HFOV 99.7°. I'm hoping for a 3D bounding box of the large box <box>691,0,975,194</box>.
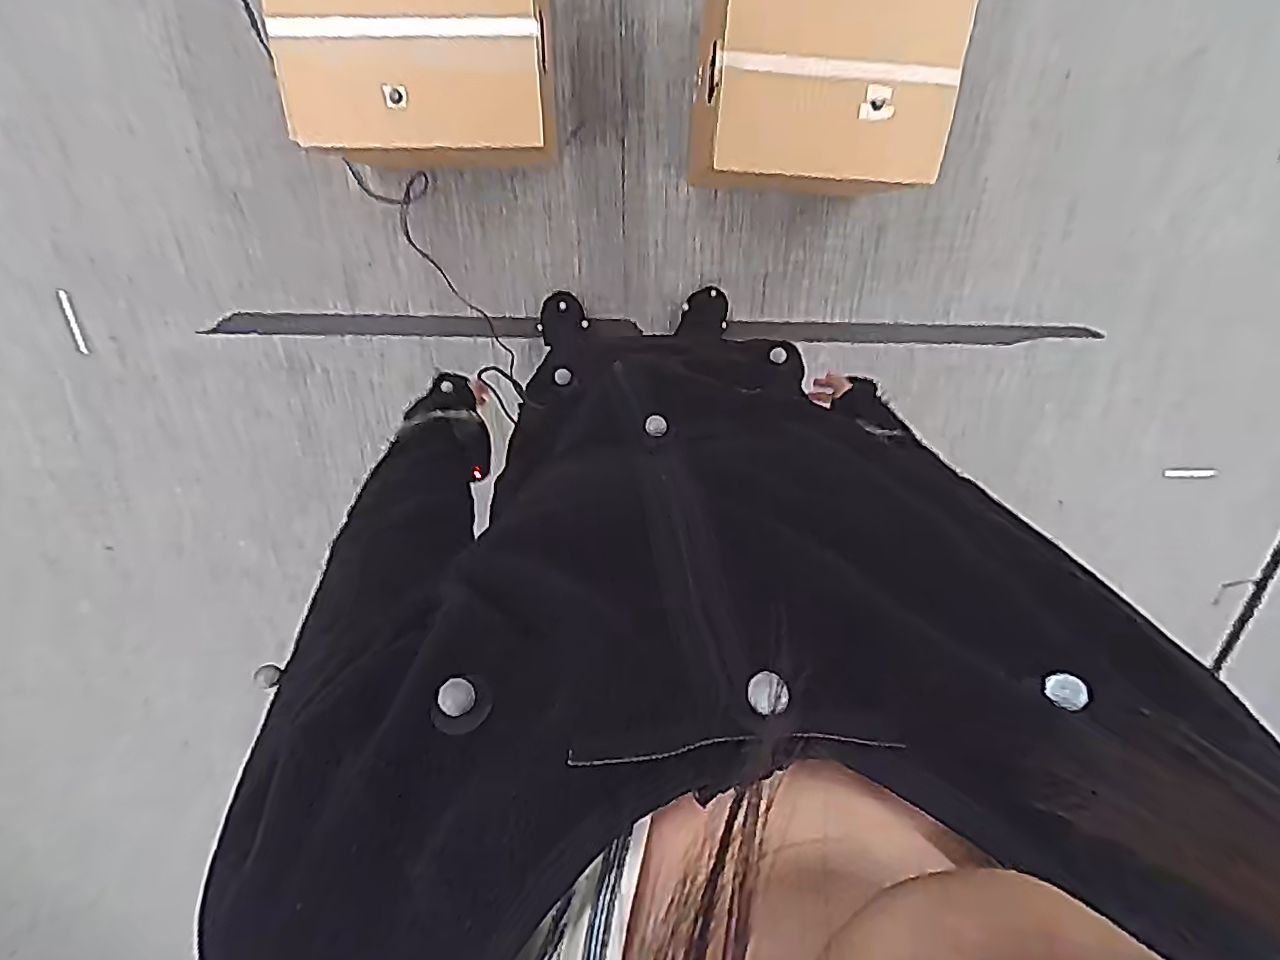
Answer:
[{"bbox_3d":[0.323,-0.739,1.027,0.408,0.320,0.320,1,114,-5],"label":"large box"}]
